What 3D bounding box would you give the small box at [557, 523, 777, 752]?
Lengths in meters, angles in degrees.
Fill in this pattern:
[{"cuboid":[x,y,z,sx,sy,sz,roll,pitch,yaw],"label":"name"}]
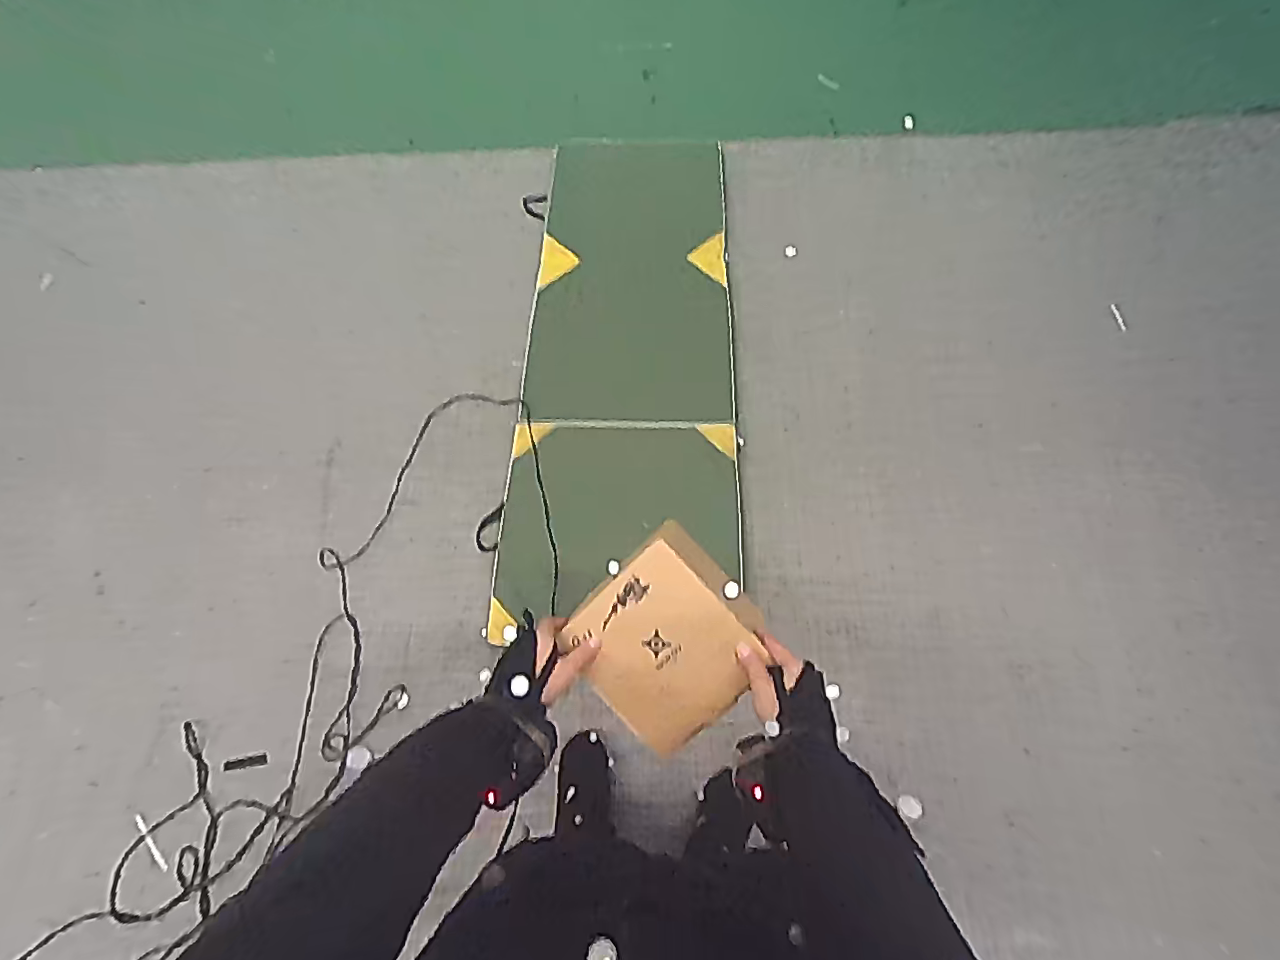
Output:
[{"cuboid":[0.036,0.169,0.644,0.168,0.176,0.179,-44,87,6],"label":"small box"}]
